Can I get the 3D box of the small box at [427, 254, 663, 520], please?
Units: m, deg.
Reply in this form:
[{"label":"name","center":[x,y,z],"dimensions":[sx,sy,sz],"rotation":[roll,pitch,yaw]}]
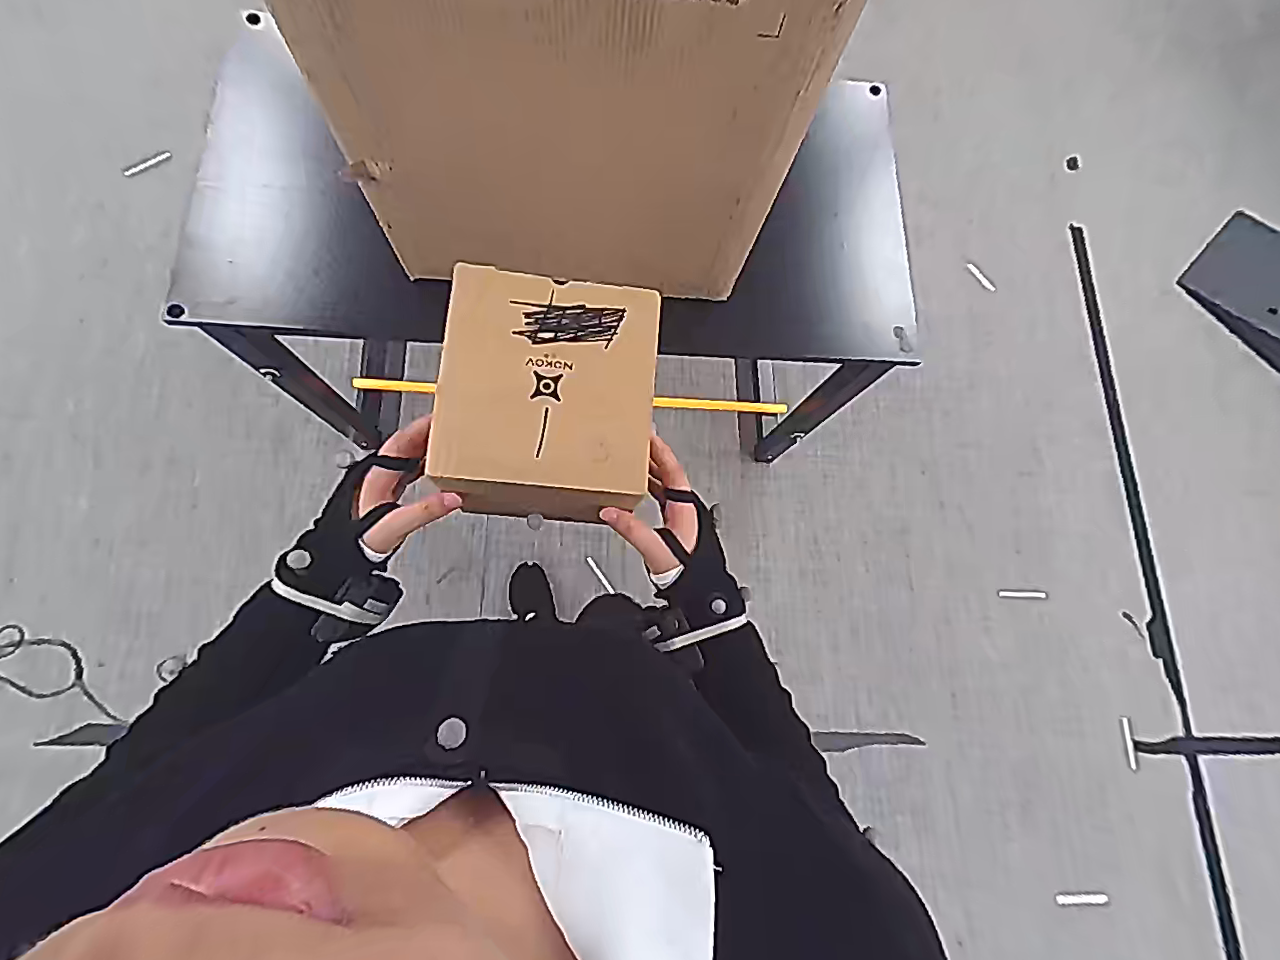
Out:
[{"label":"small box","center":[-0.080,-0.069,0.494],"dimensions":[0.168,0.176,0.179],"rotation":[6,76,-7]}]
